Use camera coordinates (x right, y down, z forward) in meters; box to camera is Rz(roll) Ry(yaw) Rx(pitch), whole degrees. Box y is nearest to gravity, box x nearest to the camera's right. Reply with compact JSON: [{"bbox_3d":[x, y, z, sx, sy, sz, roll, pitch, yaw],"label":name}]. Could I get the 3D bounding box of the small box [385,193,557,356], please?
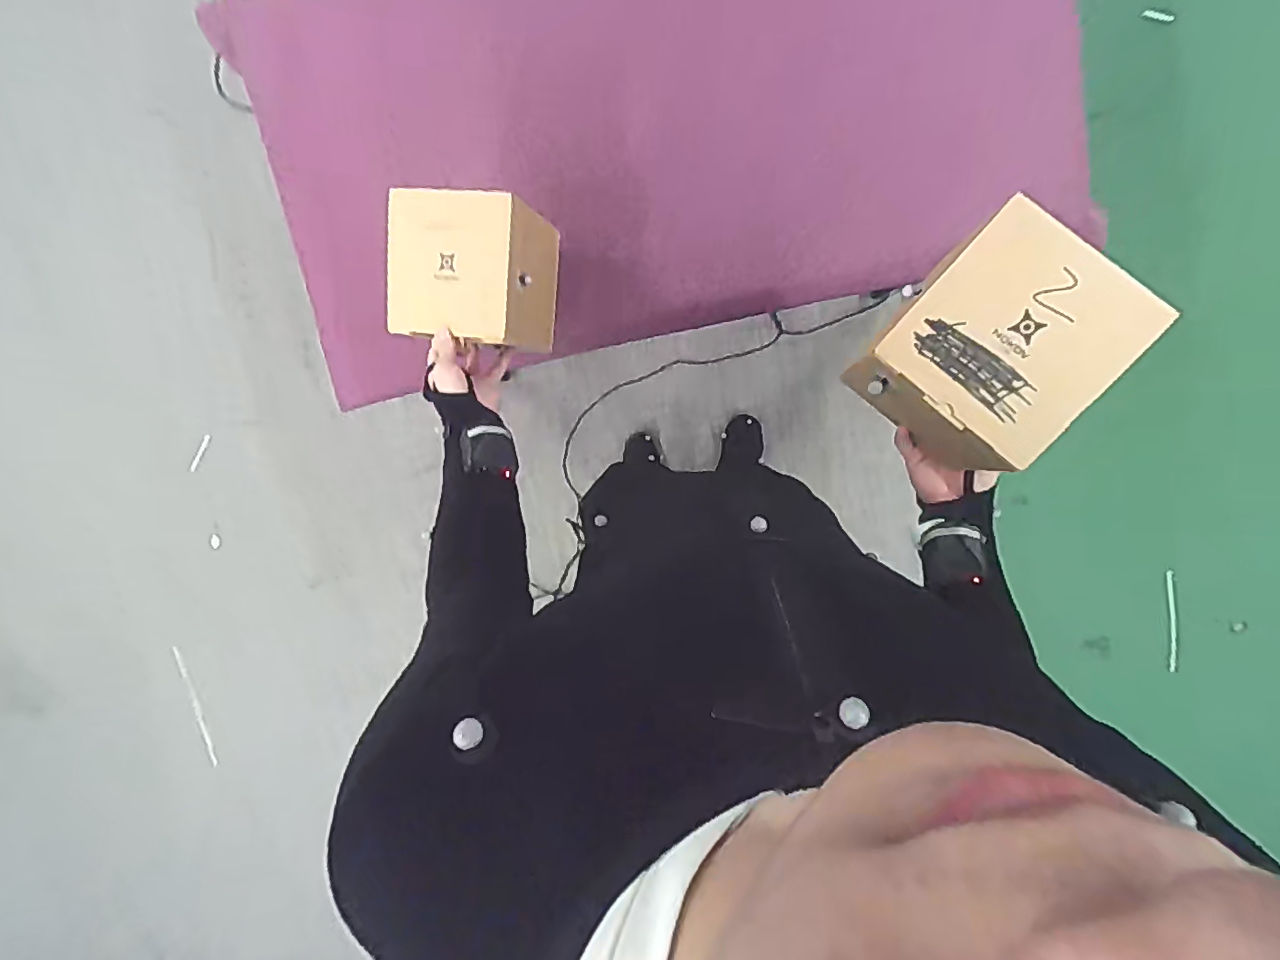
[{"bbox_3d":[-0.222,-0.269,0.742,0.168,0.176,0.179,9,100,10],"label":"small box"}]
